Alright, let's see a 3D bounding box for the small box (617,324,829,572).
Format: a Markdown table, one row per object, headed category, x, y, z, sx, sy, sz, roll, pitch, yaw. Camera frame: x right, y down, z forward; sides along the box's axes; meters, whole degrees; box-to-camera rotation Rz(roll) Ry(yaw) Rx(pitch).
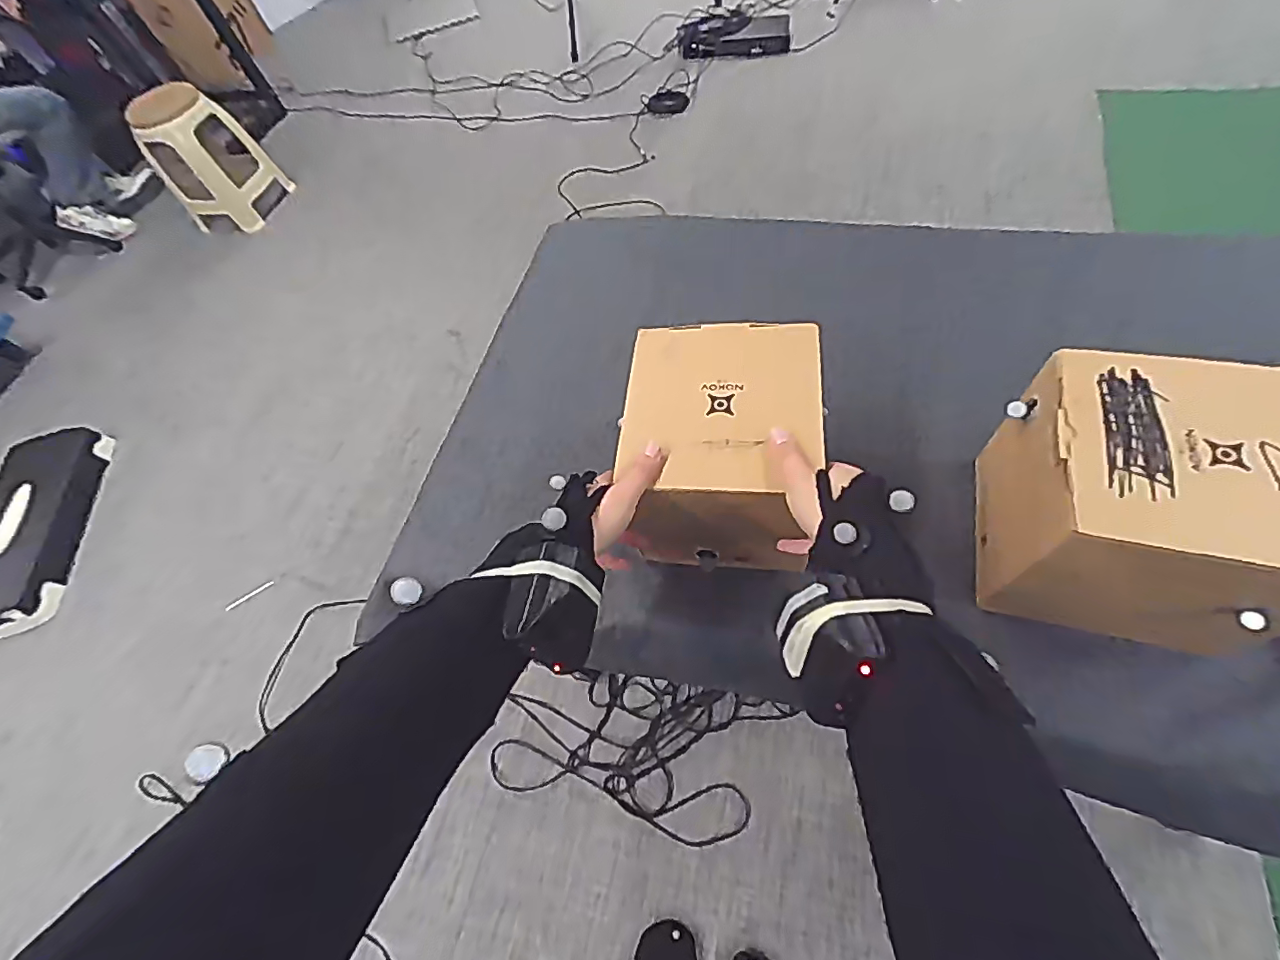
| category | x | y | z | sx | sy | sz | roll | pitch | yaw |
| --- | --- | --- | --- | --- | --- | --- | --- | --- | --- |
| small box | 0.083 | -0.026 | 0.523 | 0.168 | 0.176 | 0.179 | 1 | 61 | 12 |
